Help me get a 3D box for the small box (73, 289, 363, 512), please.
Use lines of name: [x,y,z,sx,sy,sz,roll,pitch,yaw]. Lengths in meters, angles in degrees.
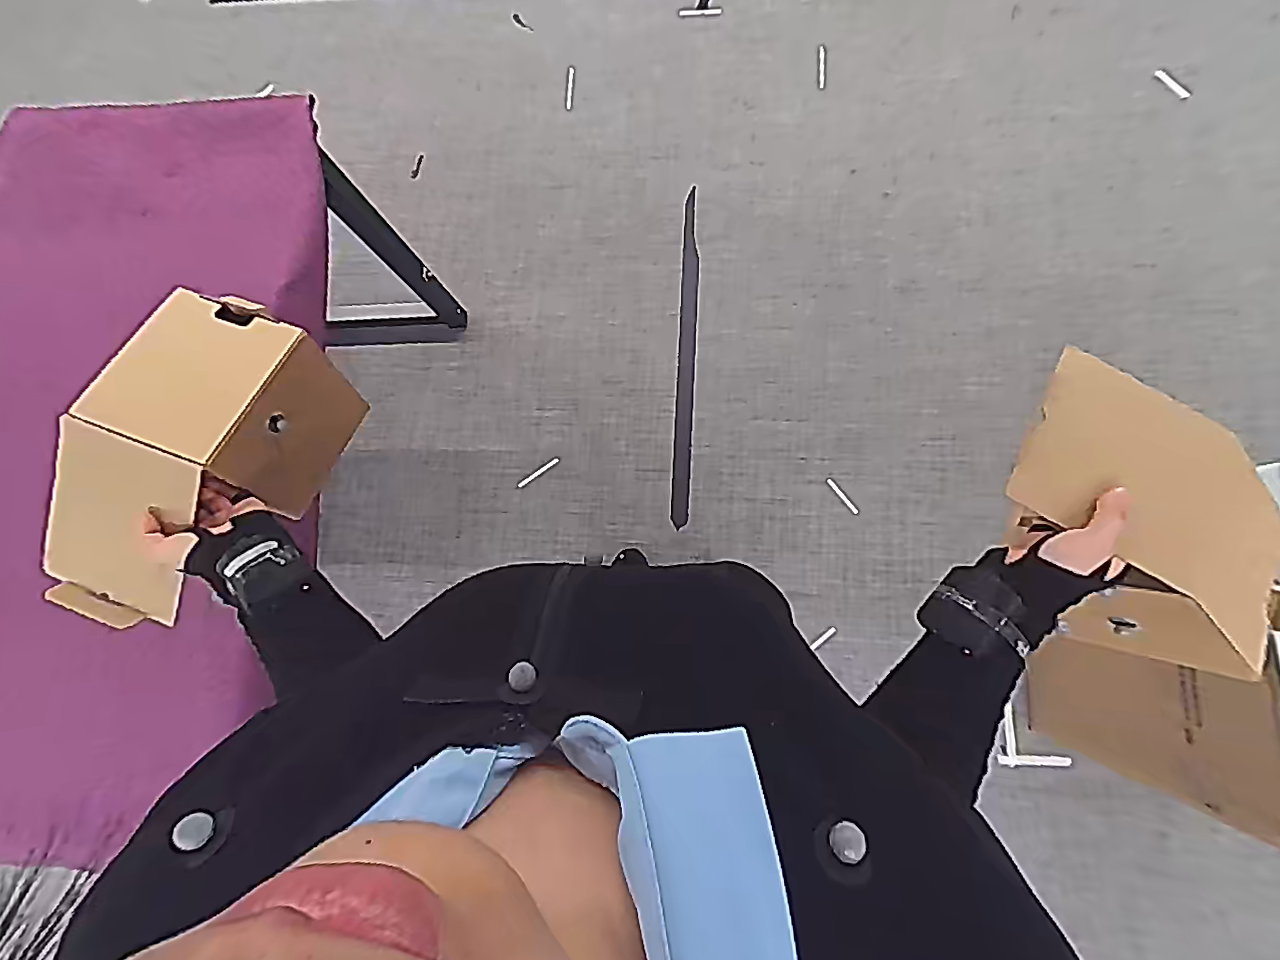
small box: [-0.467,-0.083,0.637,0.168,0.176,0.179,19,68,6]
